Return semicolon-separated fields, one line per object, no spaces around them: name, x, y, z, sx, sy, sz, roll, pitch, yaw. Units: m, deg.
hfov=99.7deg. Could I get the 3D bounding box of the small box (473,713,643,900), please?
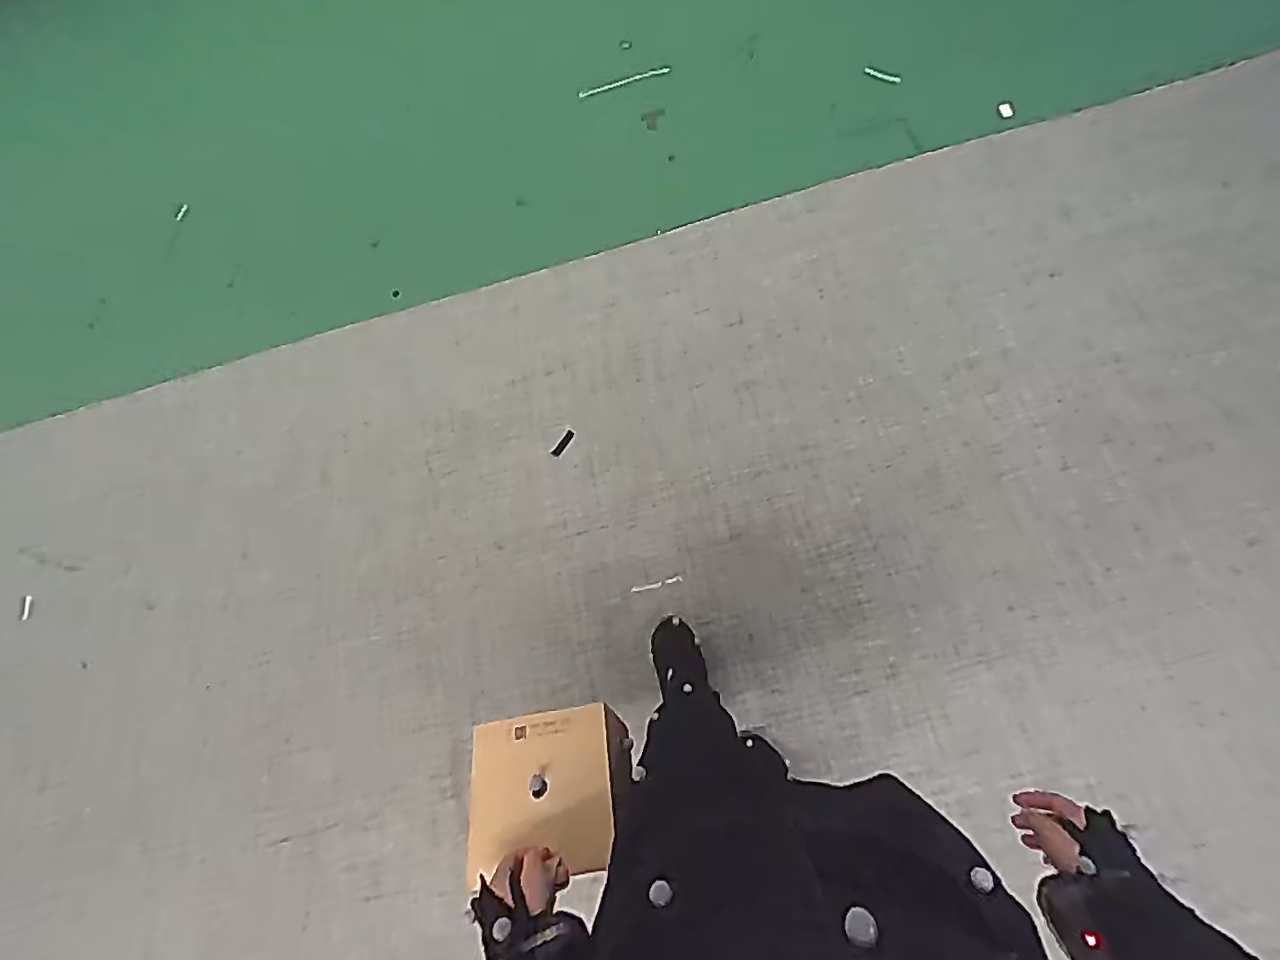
small box;-0.099;0.403;0.677;0.168;0.179;0.176;-12;54;2
